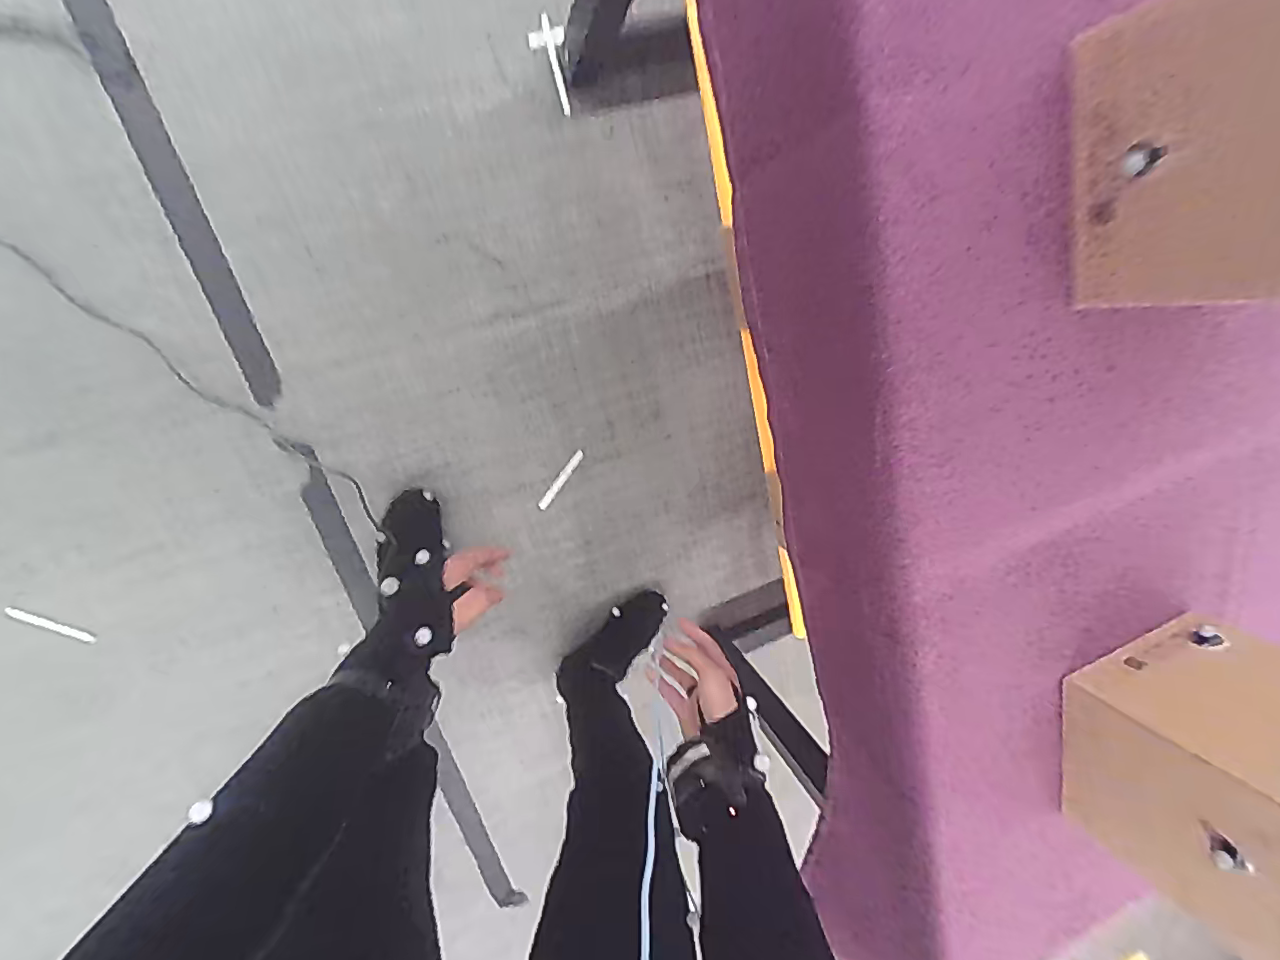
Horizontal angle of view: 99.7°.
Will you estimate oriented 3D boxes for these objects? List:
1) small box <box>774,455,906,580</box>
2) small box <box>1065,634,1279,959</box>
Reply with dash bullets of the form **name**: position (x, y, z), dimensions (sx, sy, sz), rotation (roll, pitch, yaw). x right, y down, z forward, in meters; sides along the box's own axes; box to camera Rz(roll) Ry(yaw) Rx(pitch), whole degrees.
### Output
- **small box**: position (0.372, 0.063, 1.033), dimensions (0.179, 0.176, 0.168), rotation (-18, 109, -13)
- **small box**: position (0.501, 0.255, 0.456), dimensions (0.168, 0.176, 0.179), rotation (-19, 109, -11)
